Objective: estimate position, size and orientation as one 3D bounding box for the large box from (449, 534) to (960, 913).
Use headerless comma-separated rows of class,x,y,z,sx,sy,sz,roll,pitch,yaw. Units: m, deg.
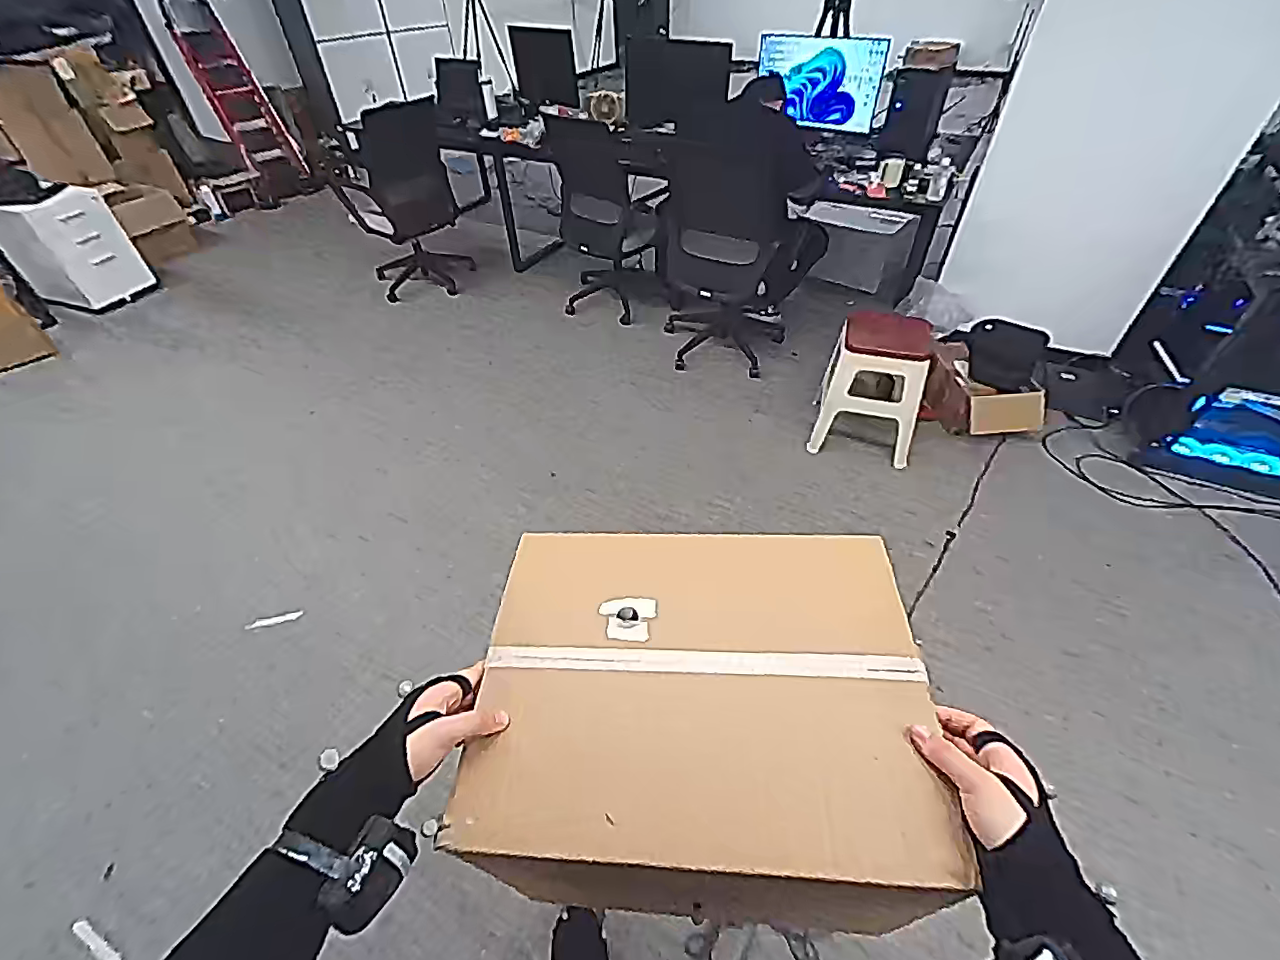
large box,0.066,0.282,0.625,0.408,0.320,0.320,-2,44,7
